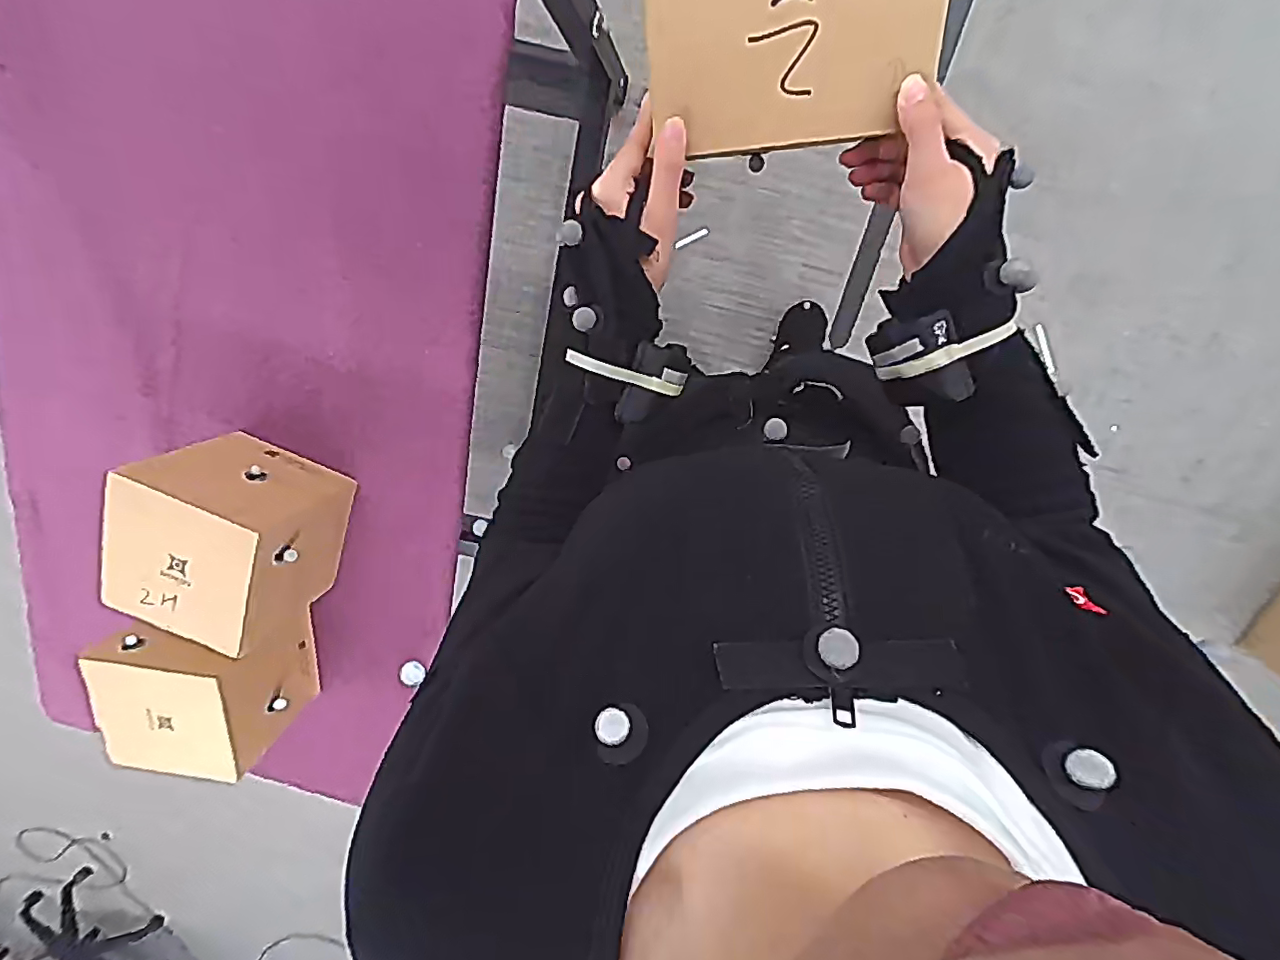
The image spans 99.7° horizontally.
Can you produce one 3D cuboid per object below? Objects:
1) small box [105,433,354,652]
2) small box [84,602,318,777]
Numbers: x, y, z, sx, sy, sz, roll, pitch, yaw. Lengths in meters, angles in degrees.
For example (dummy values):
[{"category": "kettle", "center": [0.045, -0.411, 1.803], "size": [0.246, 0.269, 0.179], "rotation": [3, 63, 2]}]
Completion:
[{"category": "small box", "center": [-0.478, 0.063, 0.650], "size": [0.168, 0.176, 0.179], "rotation": [23, 111, -1]}, {"category": "small box", "center": [-0.567, 0.262, 0.732], "size": [0.179, 0.176, 0.168], "rotation": [6, 110, 4]}]
